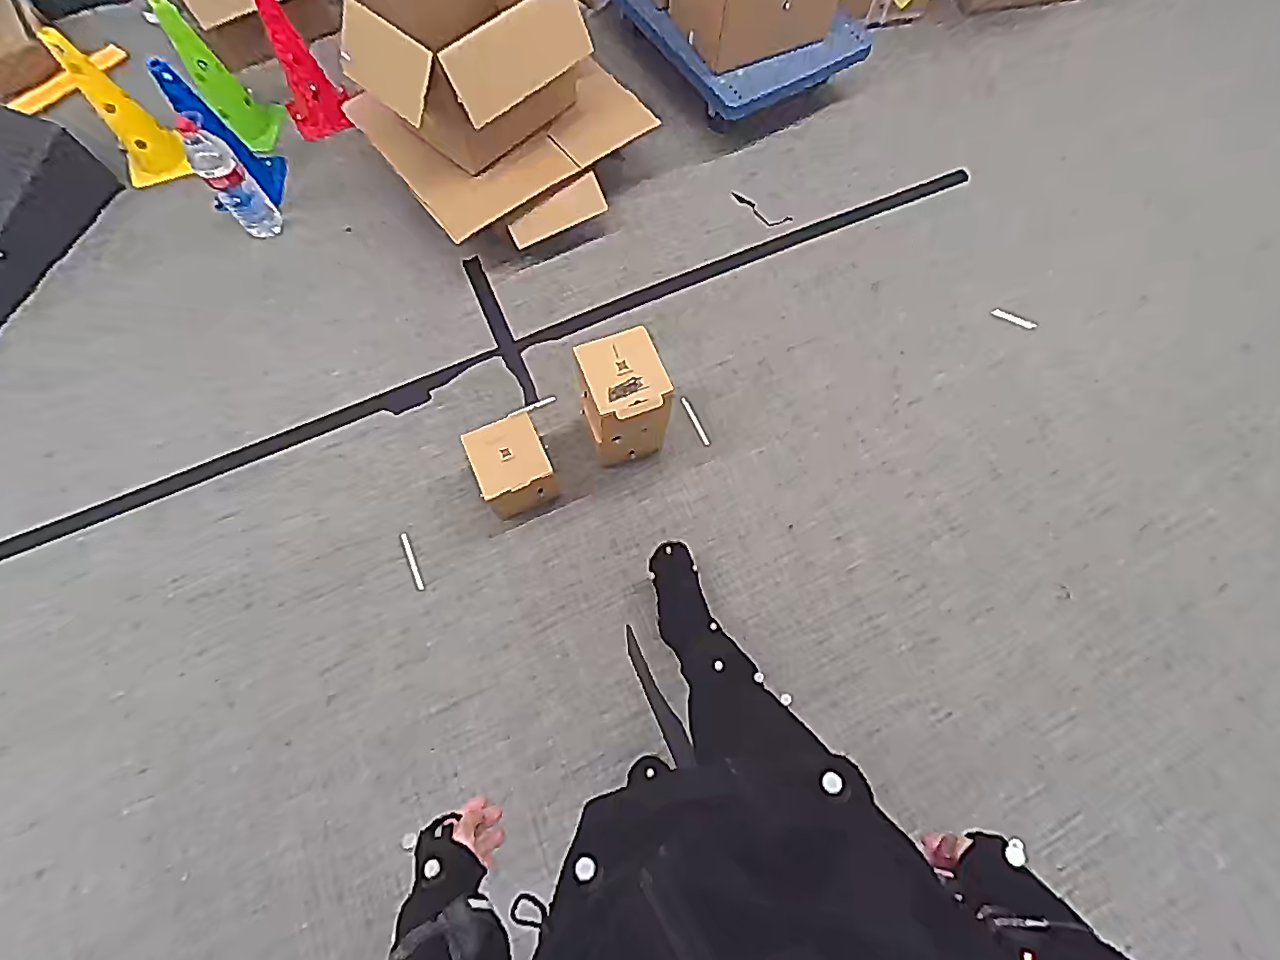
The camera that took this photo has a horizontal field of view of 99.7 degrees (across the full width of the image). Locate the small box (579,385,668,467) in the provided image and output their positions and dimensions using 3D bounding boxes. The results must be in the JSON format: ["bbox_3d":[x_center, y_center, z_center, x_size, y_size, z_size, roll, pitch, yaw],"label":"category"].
[{"bbox_3d":[-0.046,-0.153,1.358,0.179,0.176,0.168,-18,73,-9],"label":"small box"}]

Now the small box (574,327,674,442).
[{"bbox_3d":[-0.035,-0.202,1.200,0.168,0.176,0.179,-20,72,-9],"label":"small box"}]

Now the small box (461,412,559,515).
[{"bbox_3d":[-0.305,-0.030,1.307,0.168,0.176,0.179,-24,73,-11],"label":"small box"}]
